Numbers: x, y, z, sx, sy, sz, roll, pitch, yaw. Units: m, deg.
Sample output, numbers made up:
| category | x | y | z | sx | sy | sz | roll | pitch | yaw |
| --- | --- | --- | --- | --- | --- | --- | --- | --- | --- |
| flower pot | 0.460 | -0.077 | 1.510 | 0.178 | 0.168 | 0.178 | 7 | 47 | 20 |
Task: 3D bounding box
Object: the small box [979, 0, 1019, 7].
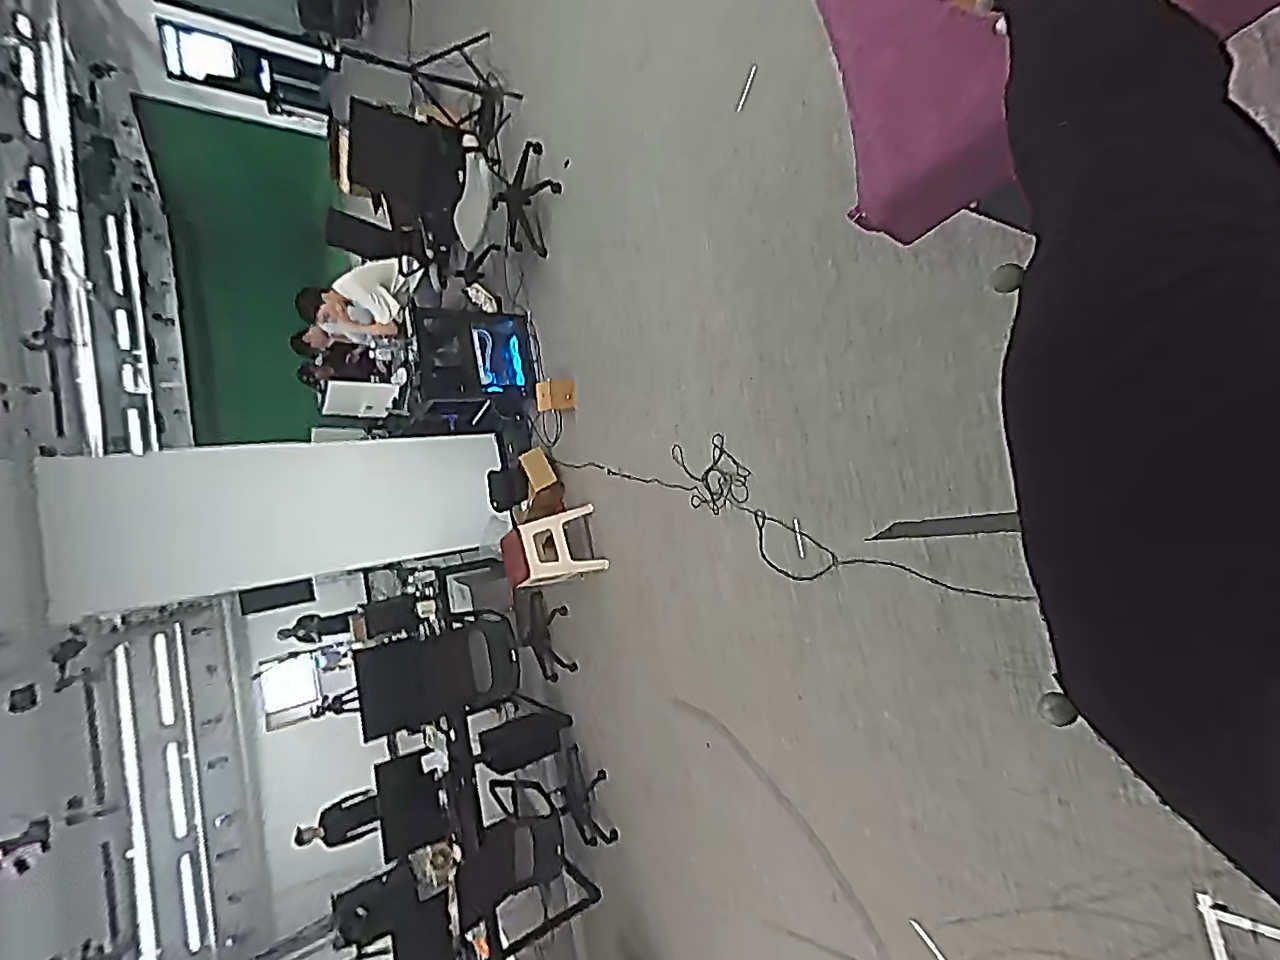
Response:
| category | x | y | z | sx | sy | sz | roll | pitch | yaw |
| --- | --- | --- | --- | --- | --- | --- | --- | --- | --- |
| small box | 0.403 | -0.579 | 0.504 | 0.168 | 0.176 | 0.179 | 22 | 131 | 36 |
